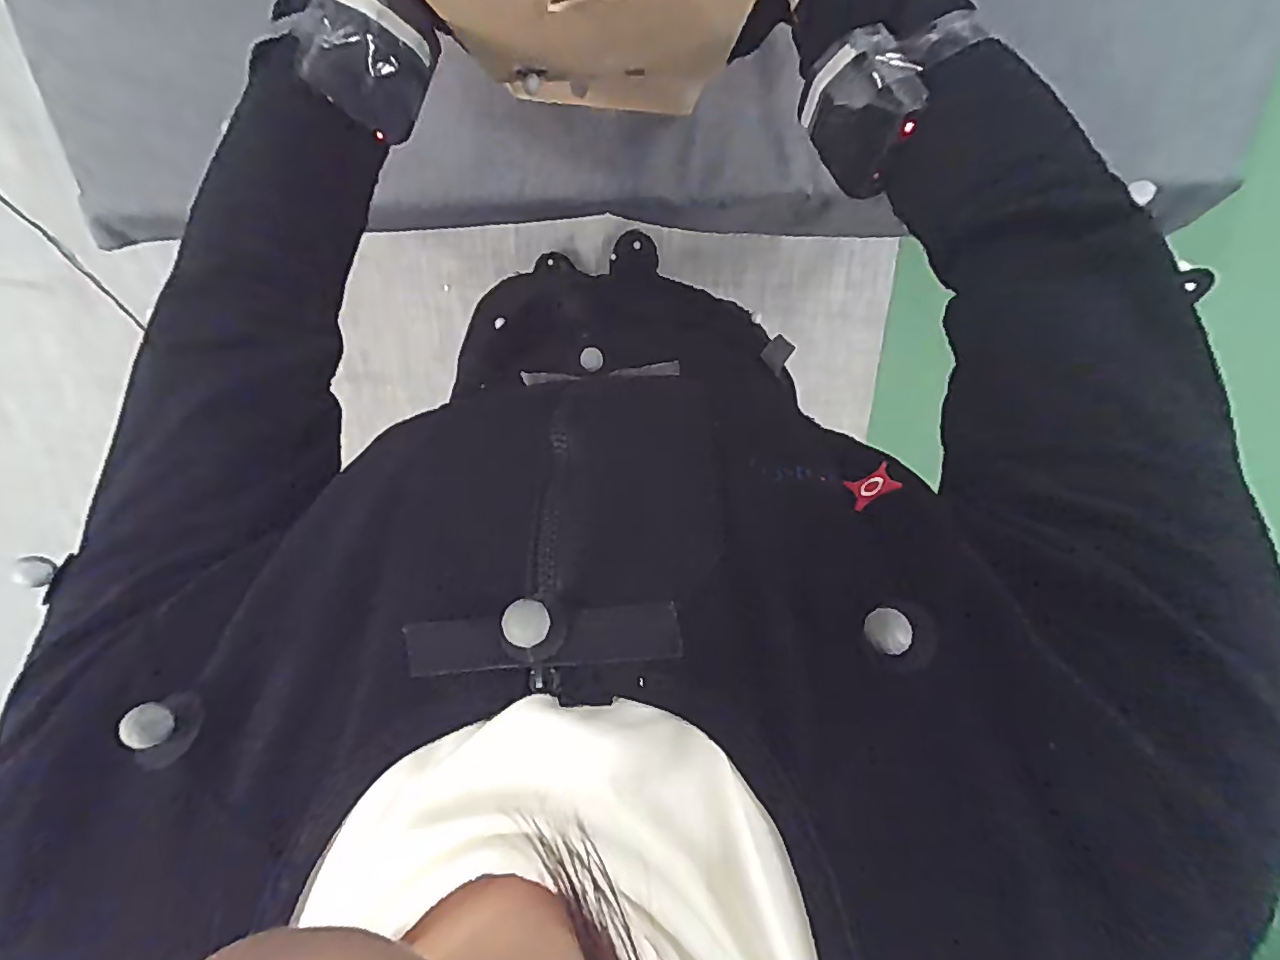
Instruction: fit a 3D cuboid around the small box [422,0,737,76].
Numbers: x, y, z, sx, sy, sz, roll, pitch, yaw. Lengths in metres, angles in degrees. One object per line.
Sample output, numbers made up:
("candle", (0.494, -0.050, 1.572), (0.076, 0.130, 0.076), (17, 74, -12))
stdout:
("small box", (-0.028, -0.342, 0.290), (0.168, 0.176, 0.179), (-4, 114, 2))
